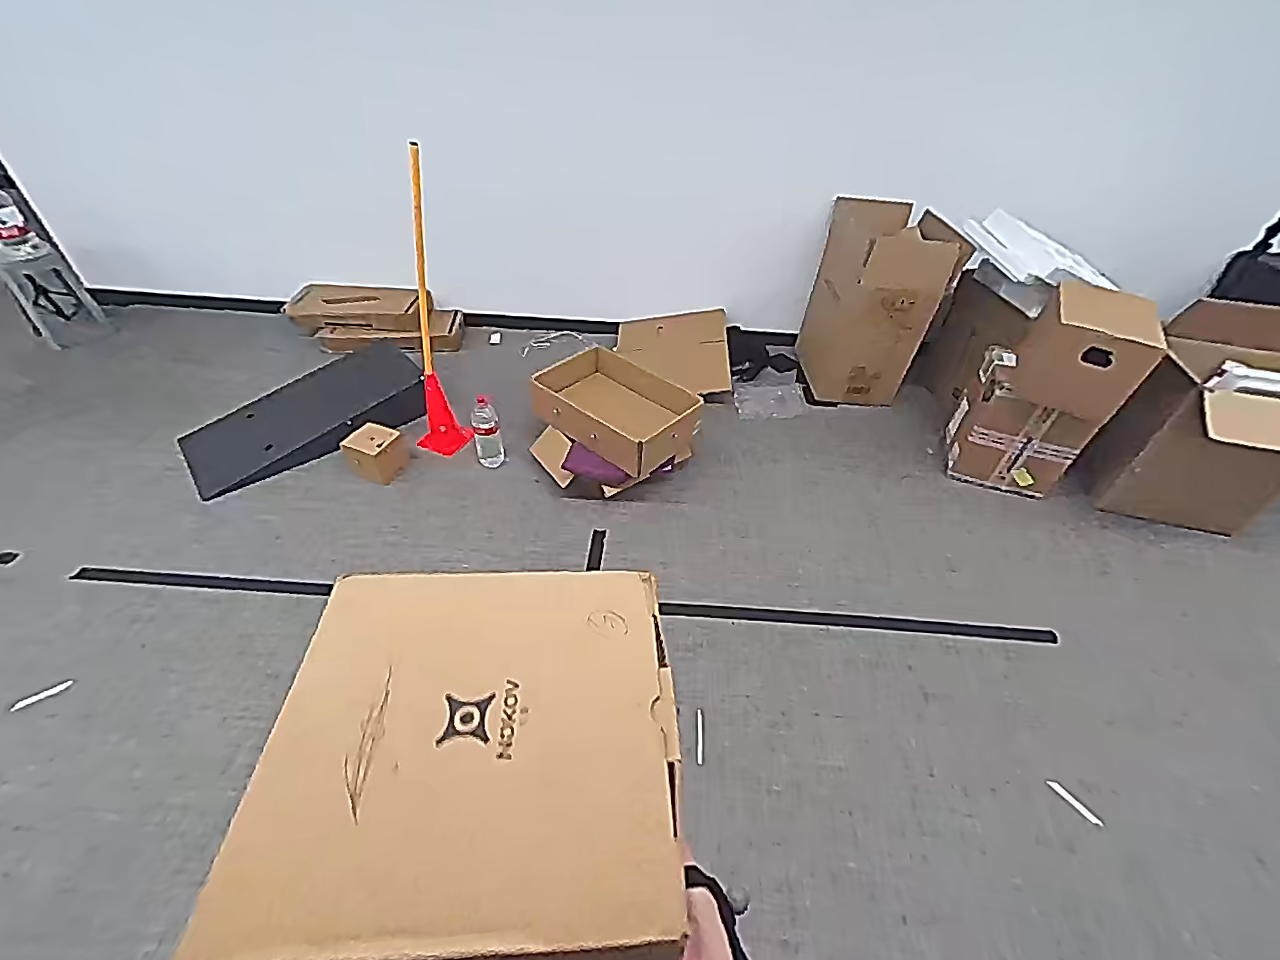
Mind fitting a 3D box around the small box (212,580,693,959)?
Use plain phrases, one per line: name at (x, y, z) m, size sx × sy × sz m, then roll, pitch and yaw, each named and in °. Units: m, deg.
small box at (-0.076, 0.175, 0.309) m, size 0.179 × 0.176 × 0.168 m, roll -2°, pitch 43°, yaw -5°
